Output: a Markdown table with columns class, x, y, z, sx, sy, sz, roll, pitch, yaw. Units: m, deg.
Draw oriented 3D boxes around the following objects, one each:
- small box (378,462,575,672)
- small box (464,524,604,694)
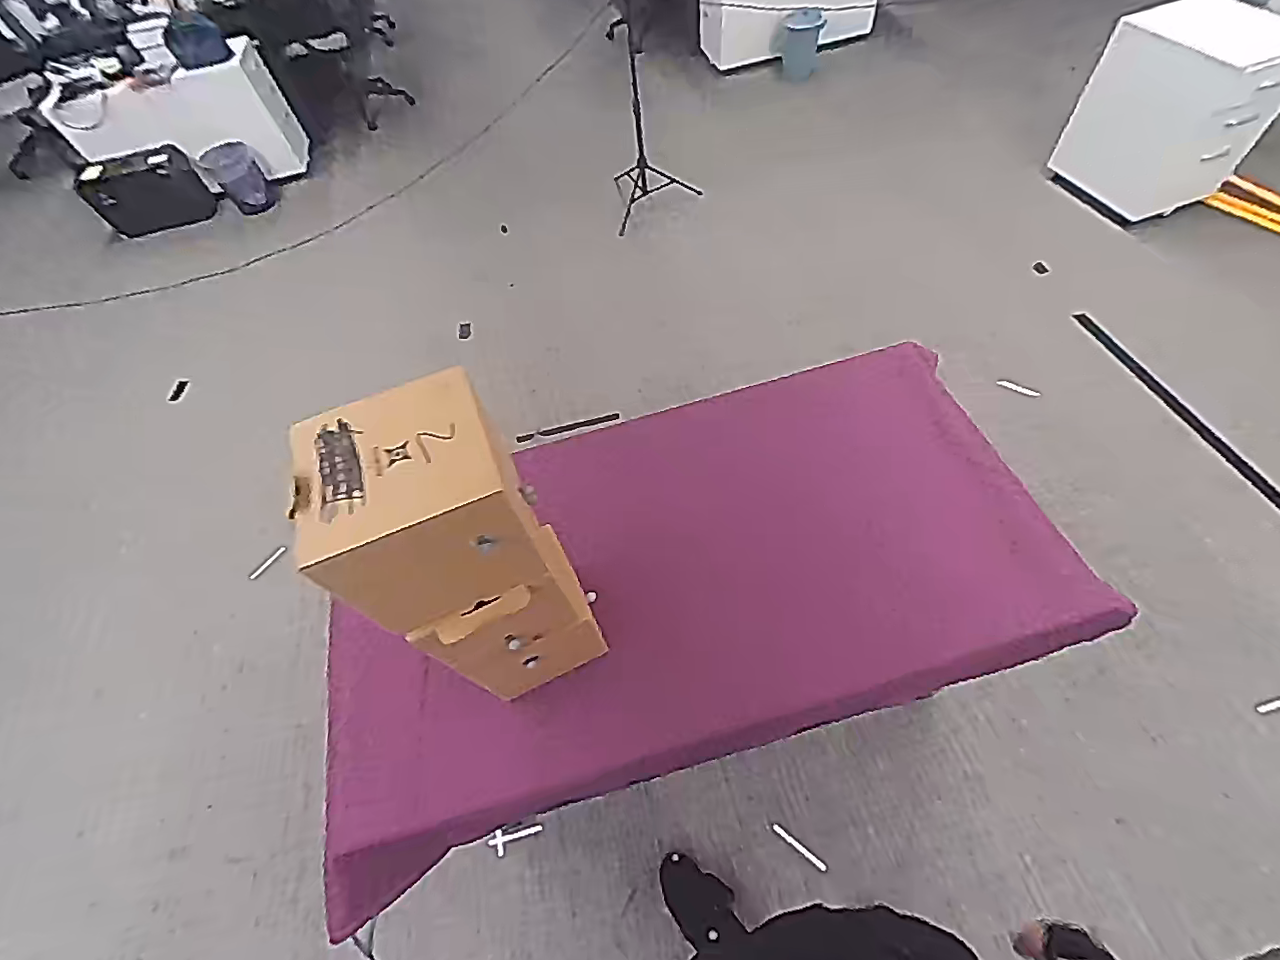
| class | x | y | z | sx | sy | sz | roll | pitch | yaw |
| --- | --- | --- | --- | --- | --- | --- | --- | --- | --- |
| small box | -0.199 | 0.114 | 0.686 | 0.168 | 0.176 | 0.179 | -26 | 59 | -9 |
| small box | -0.172 | 0.203 | 0.823 | 0.179 | 0.176 | 0.168 | -24 | 59 | -9 |
